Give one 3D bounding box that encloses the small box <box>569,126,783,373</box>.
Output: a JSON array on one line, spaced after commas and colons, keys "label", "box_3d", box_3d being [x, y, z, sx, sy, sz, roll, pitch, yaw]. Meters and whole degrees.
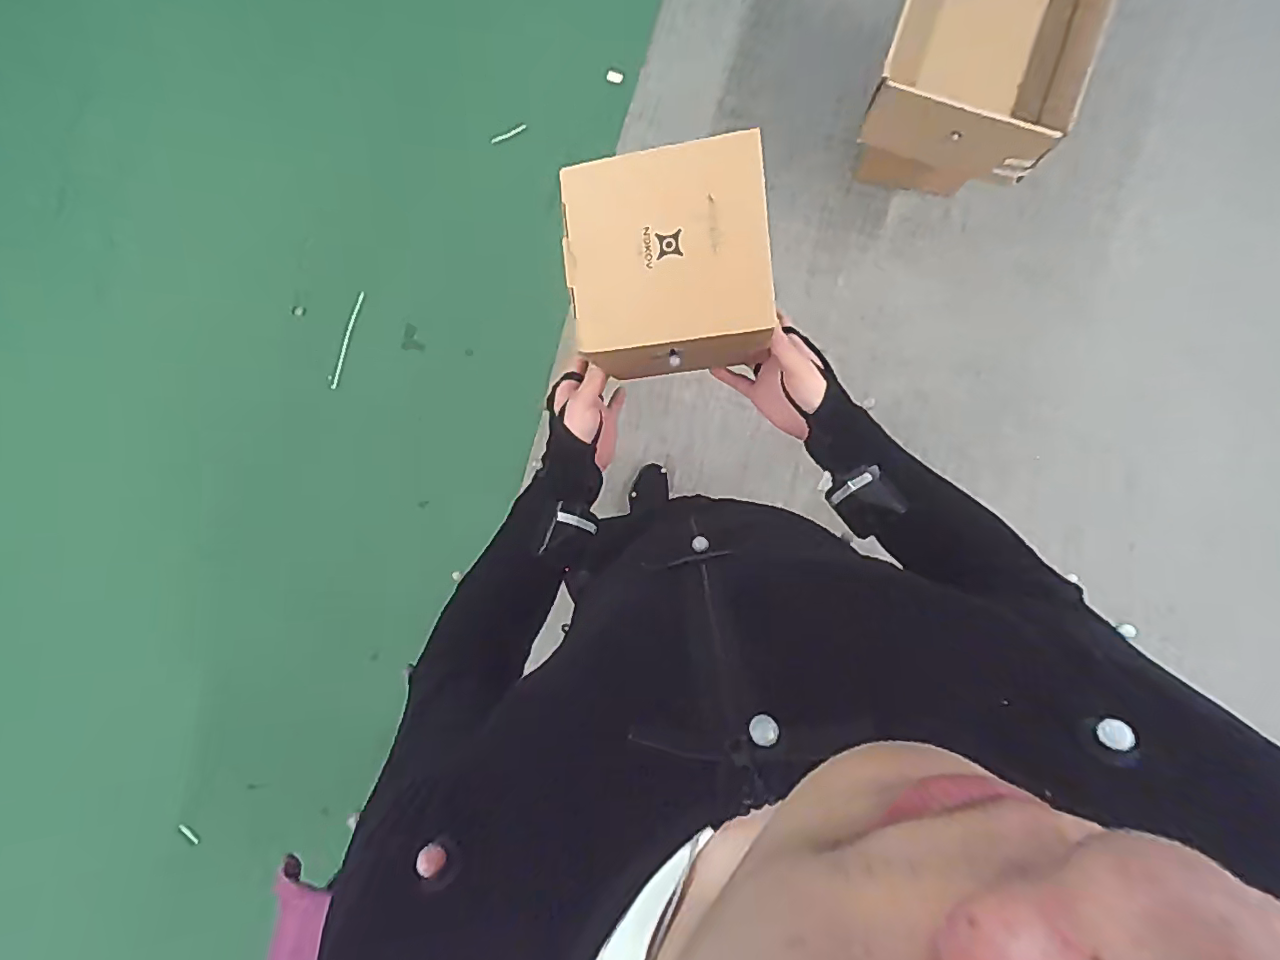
[{"label": "small box", "box_3d": [0.042, -0.206, 0.537, 0.179, 0.176, 0.168, -4, 92, 10]}]
